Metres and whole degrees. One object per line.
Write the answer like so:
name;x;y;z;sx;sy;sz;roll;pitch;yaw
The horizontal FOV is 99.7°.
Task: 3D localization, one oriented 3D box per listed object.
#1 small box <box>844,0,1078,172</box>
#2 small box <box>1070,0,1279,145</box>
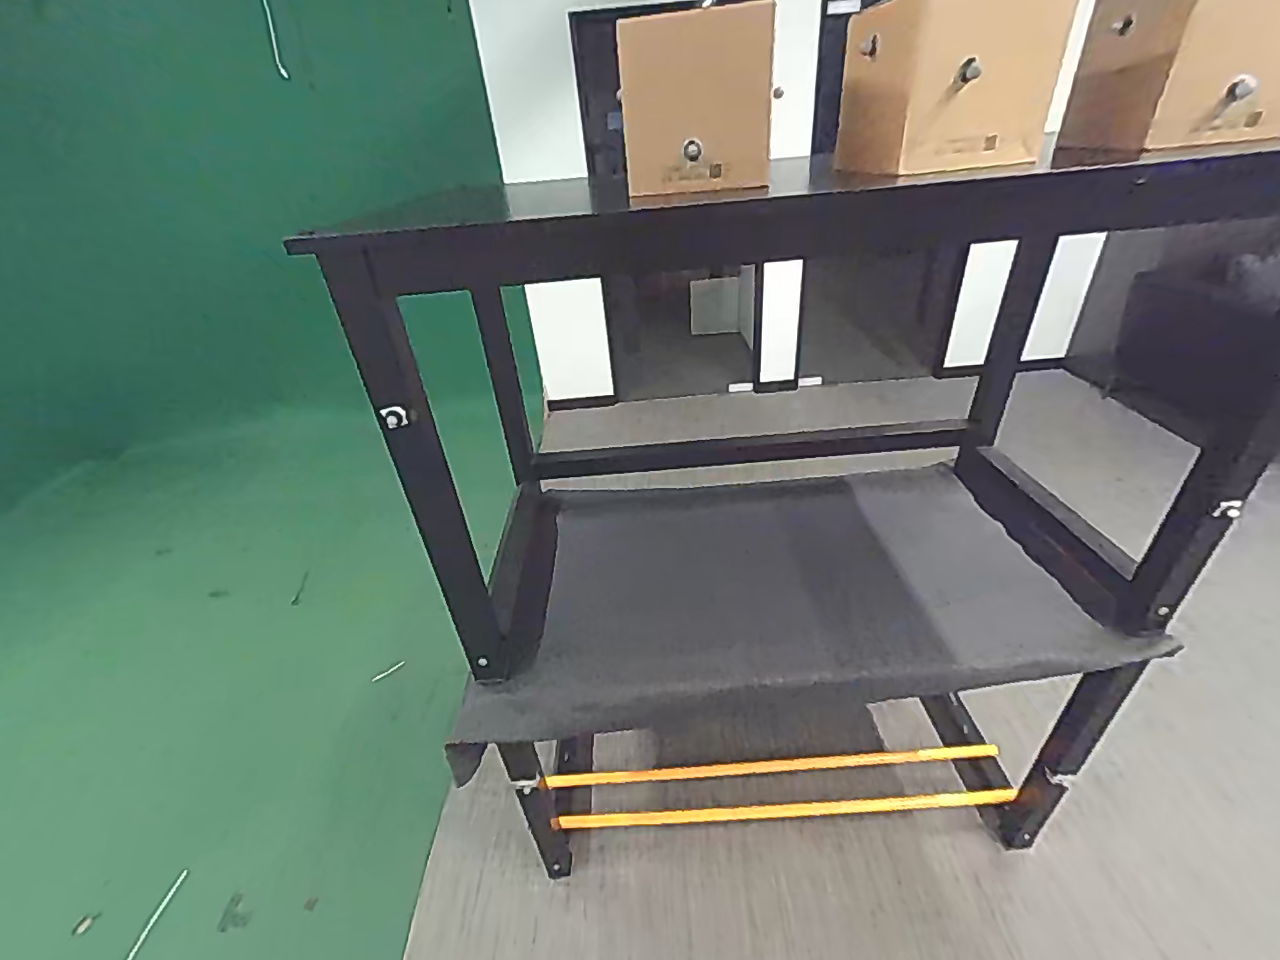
small box;0.356;-0.462;0.626;0.168;0.176;0.179;-7;32;-3
small box;0.648;-0.490;0.621;0.168;0.176;0.179;-2;33;7
